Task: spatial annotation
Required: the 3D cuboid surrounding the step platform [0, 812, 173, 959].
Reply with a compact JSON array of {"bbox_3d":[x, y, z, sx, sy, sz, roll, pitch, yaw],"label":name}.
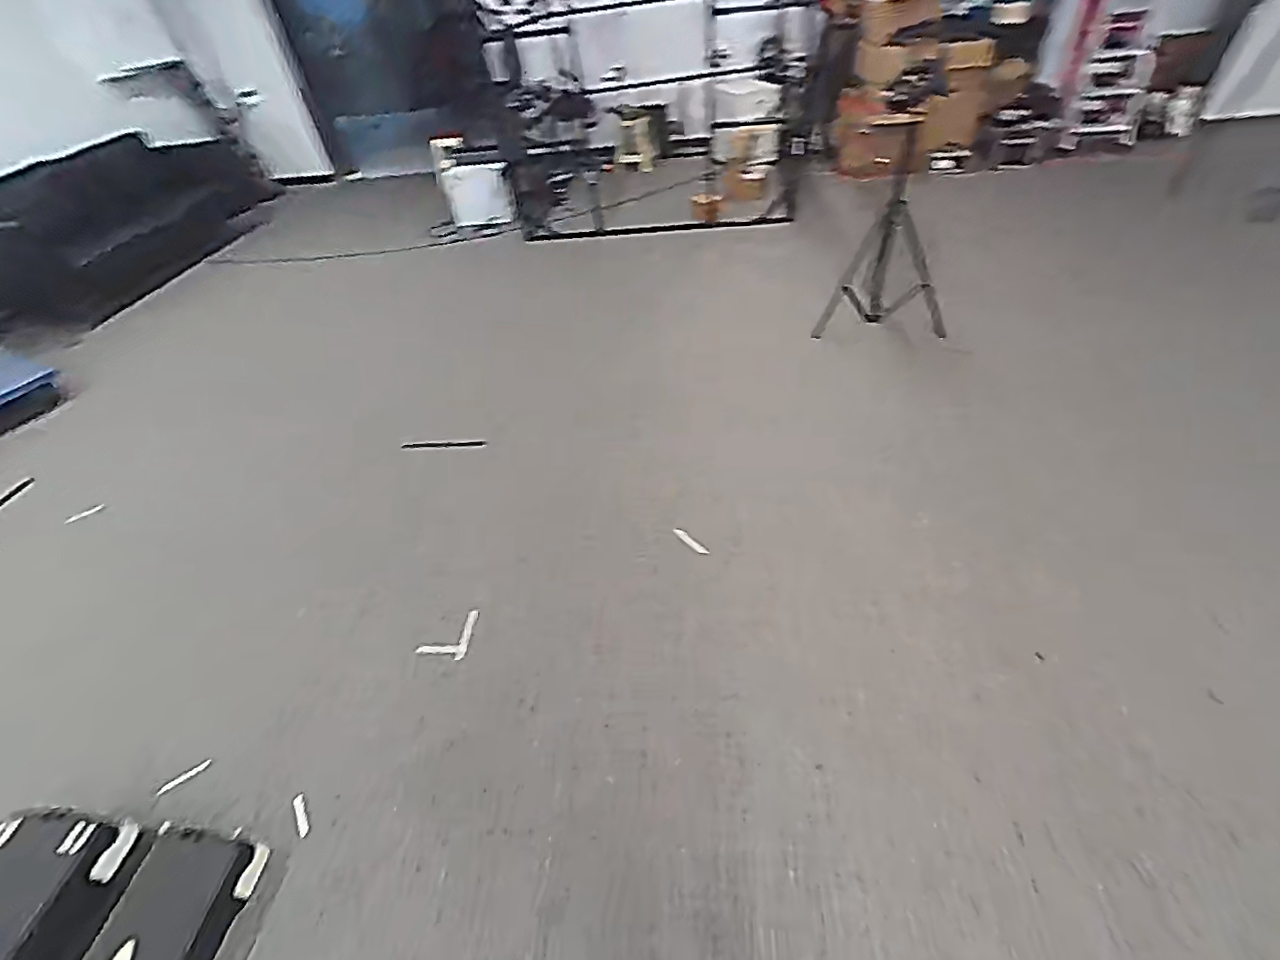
[{"bbox_3d":[-1.330,1.061,1.076,0.286,0.204,0.684,0,43,7],"label":"step platform"}]
